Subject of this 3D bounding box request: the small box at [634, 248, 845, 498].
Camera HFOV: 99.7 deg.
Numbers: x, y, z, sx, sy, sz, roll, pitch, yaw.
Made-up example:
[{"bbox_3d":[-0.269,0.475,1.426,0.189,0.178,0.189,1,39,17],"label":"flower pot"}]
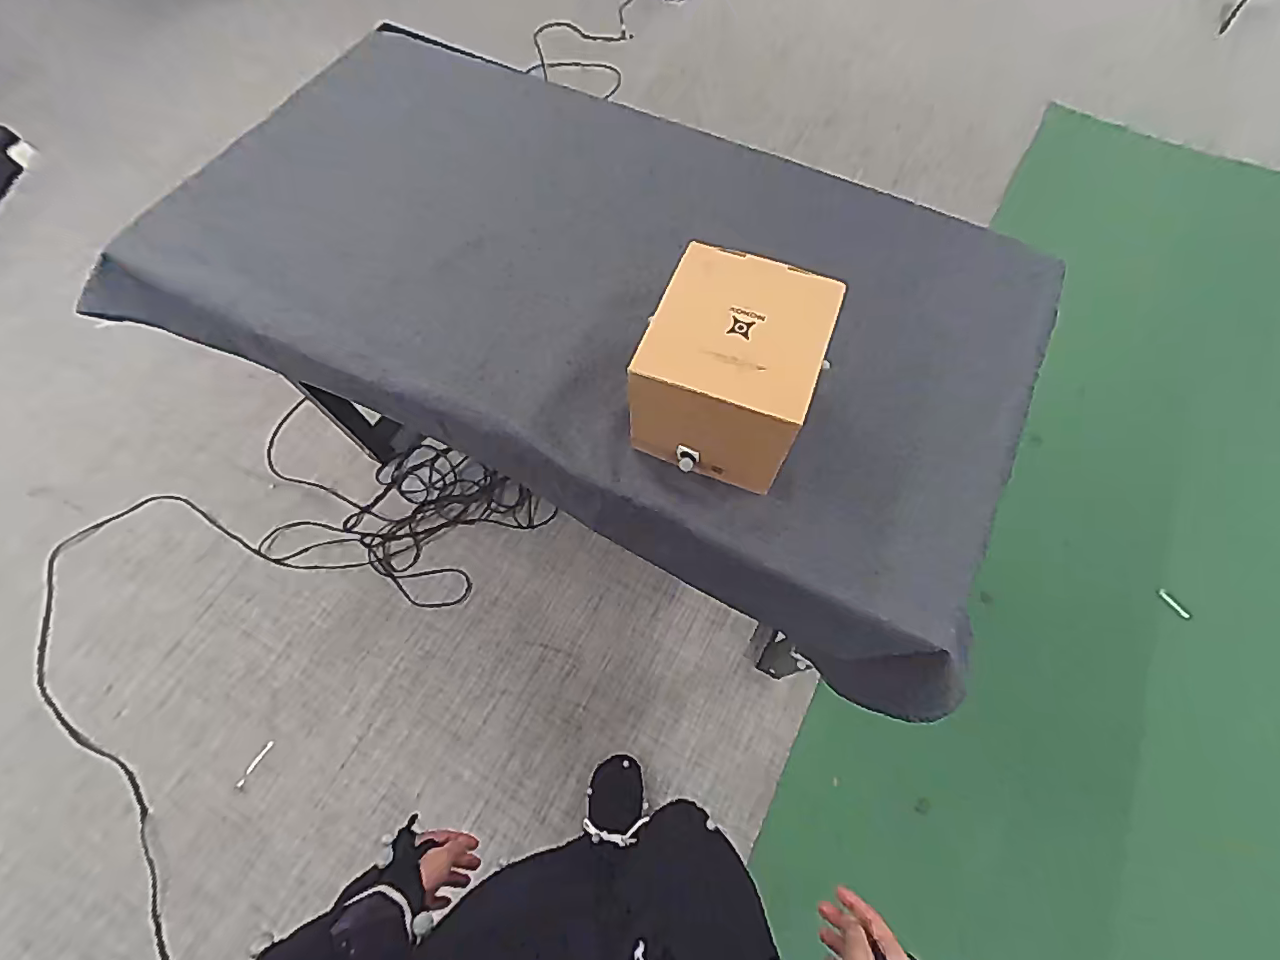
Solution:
[{"bbox_3d":[0.098,-0.107,0.585,0.168,0.176,0.179,19,68,9],"label":"small box"}]
